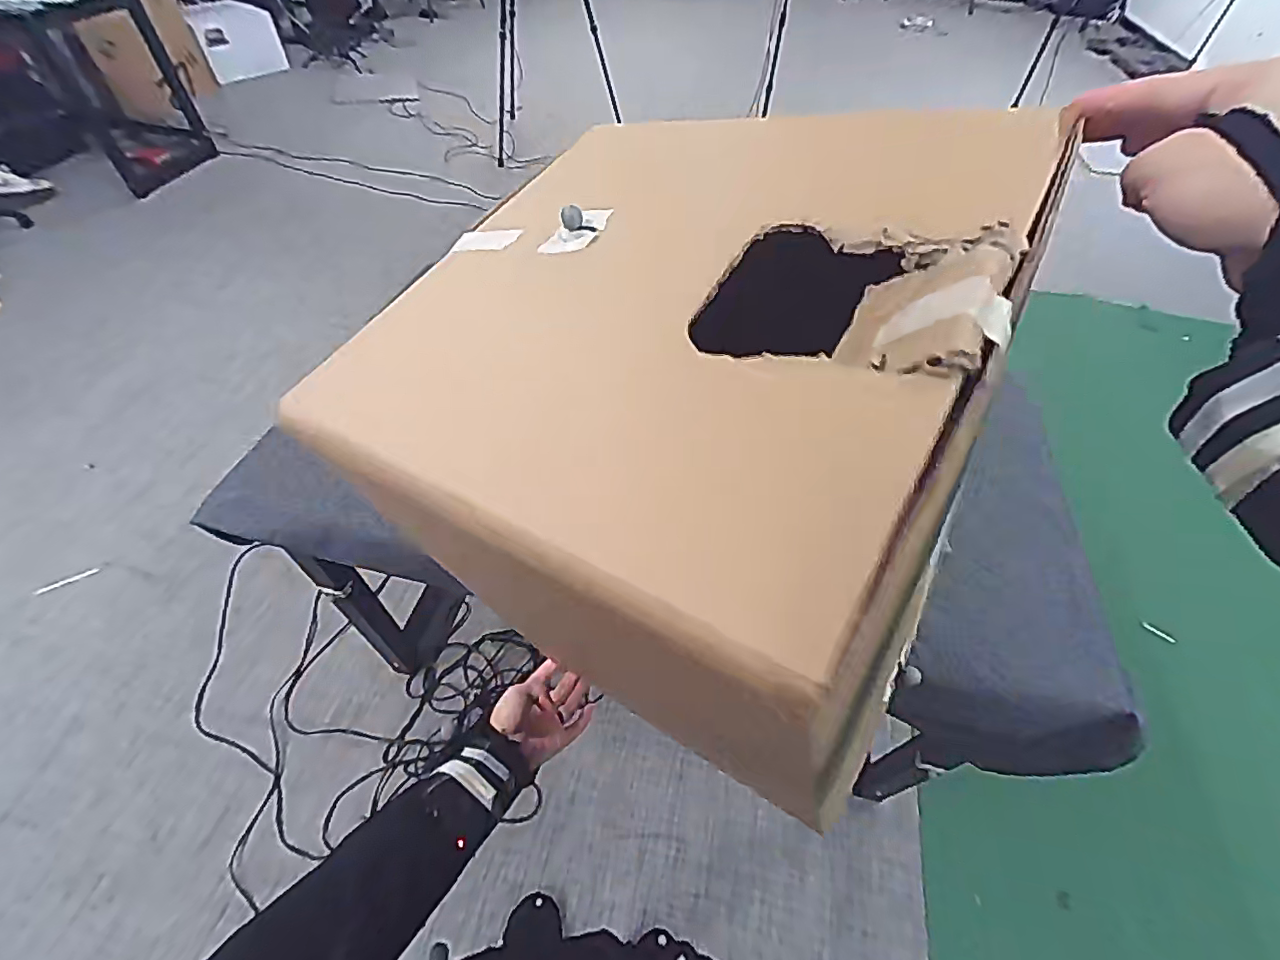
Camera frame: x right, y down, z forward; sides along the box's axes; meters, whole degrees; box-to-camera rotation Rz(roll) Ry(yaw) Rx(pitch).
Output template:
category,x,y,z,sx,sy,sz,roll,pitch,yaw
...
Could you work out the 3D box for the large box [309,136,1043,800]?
category,x,y,z,sx,sy,sz,roll,pitch,yaw
large box,0.056,0.007,0.442,0.320,0.408,0.320,21,64,29
